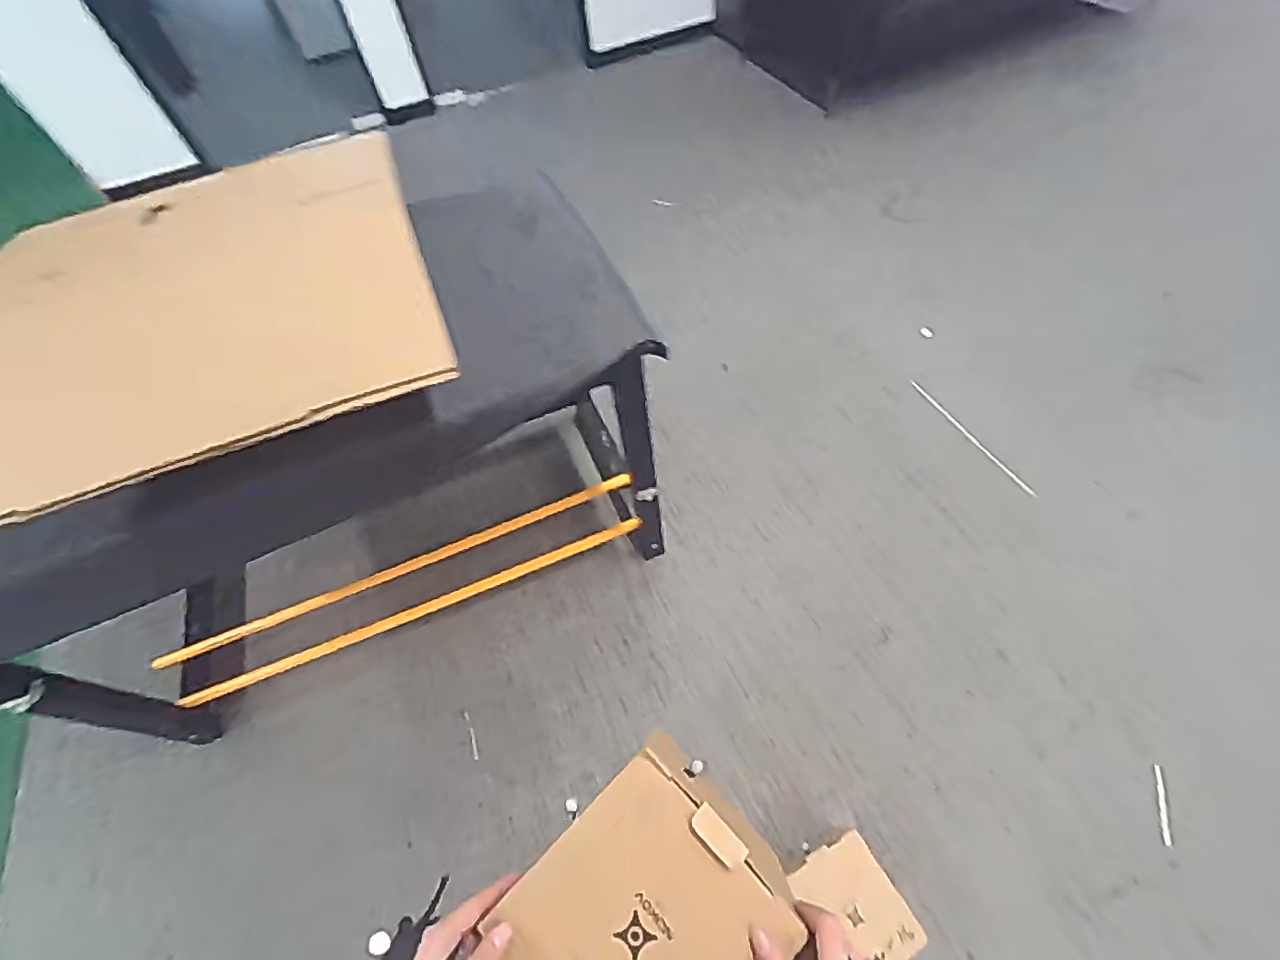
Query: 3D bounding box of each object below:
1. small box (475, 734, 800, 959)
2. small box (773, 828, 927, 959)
[{"bbox_3d":[0.002,0.341,0.456,0.179,0.176,0.168,-44,71,-10],"label":"small box"},{"bbox_3d":[0.345,0.742,0.938,0.168,0.176,0.179,-26,57,-12],"label":"small box"}]
